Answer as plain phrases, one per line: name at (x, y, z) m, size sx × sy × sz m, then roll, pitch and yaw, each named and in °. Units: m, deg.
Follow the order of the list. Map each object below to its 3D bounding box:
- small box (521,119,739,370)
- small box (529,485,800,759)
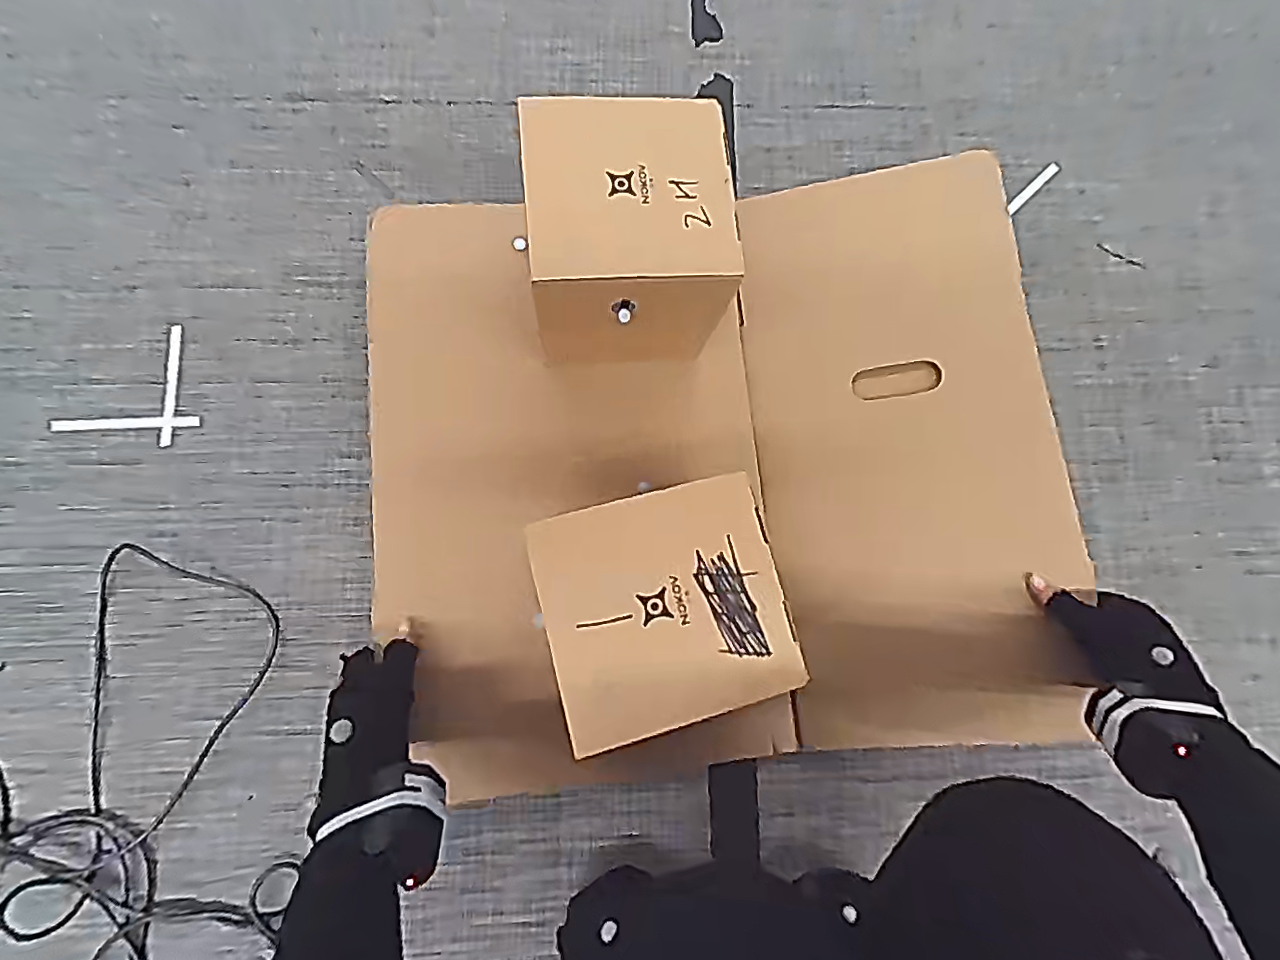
small box at (-0.018, -0.215, 0.532) m, size 0.179 × 0.176 × 0.168 m, roll -4°, pitch 81°, yaw -8°
small box at (0.009, 0.111, 0.477) m, size 0.179 × 0.176 × 0.168 m, roll -13°, pitch 82°, yaw -9°
